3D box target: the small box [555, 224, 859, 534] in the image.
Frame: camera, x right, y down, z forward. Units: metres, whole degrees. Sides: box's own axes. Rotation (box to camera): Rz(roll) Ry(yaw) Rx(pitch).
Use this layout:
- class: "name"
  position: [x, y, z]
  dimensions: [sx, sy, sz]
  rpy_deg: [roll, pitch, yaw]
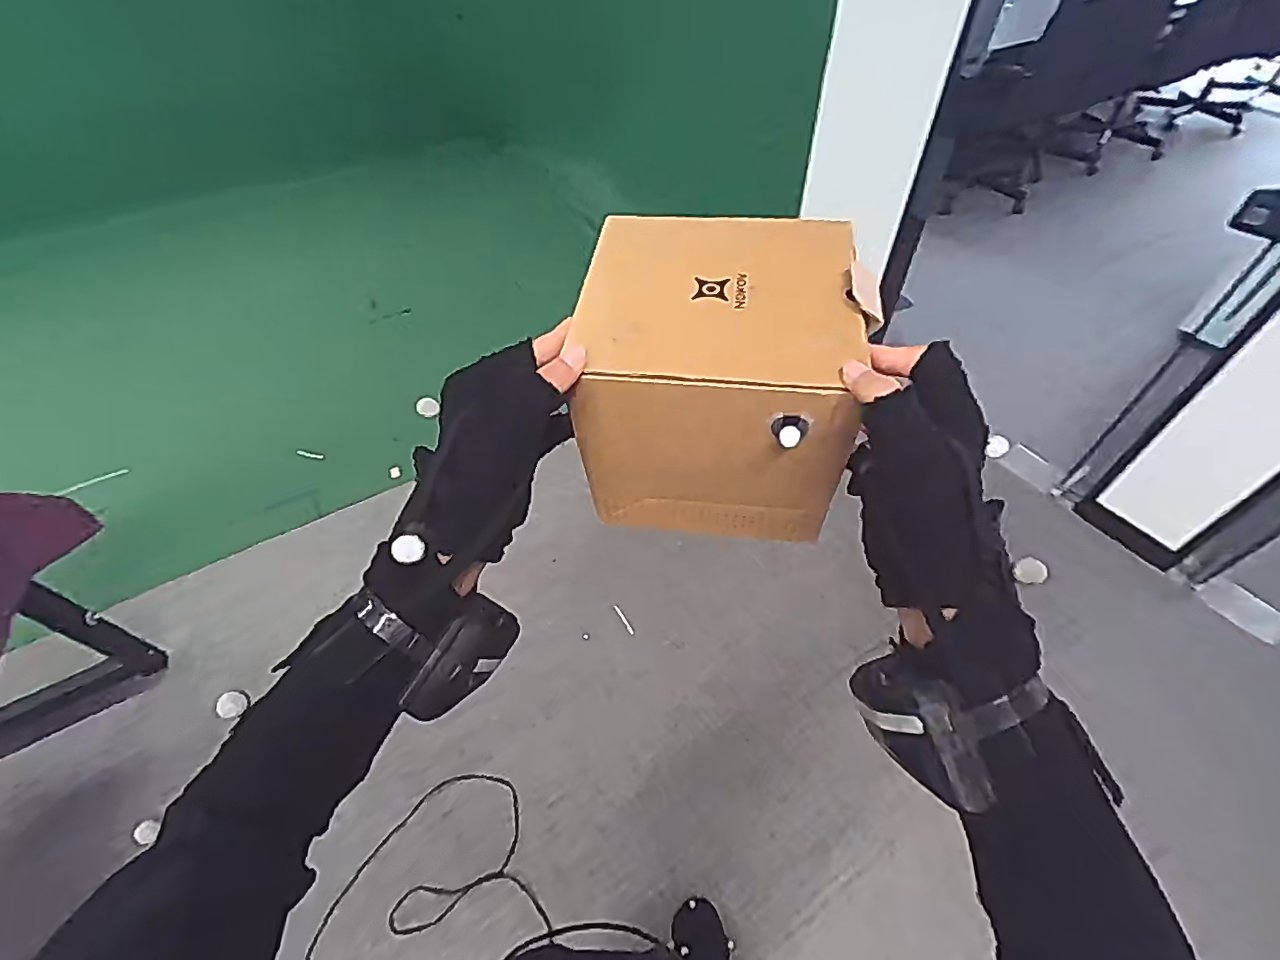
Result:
- class: "small box"
  position: [0.051, -0.073, 0.415]
  dimensions: [0.179, 0.176, 0.168]
  rpy_deg: [5, 54, 7]
